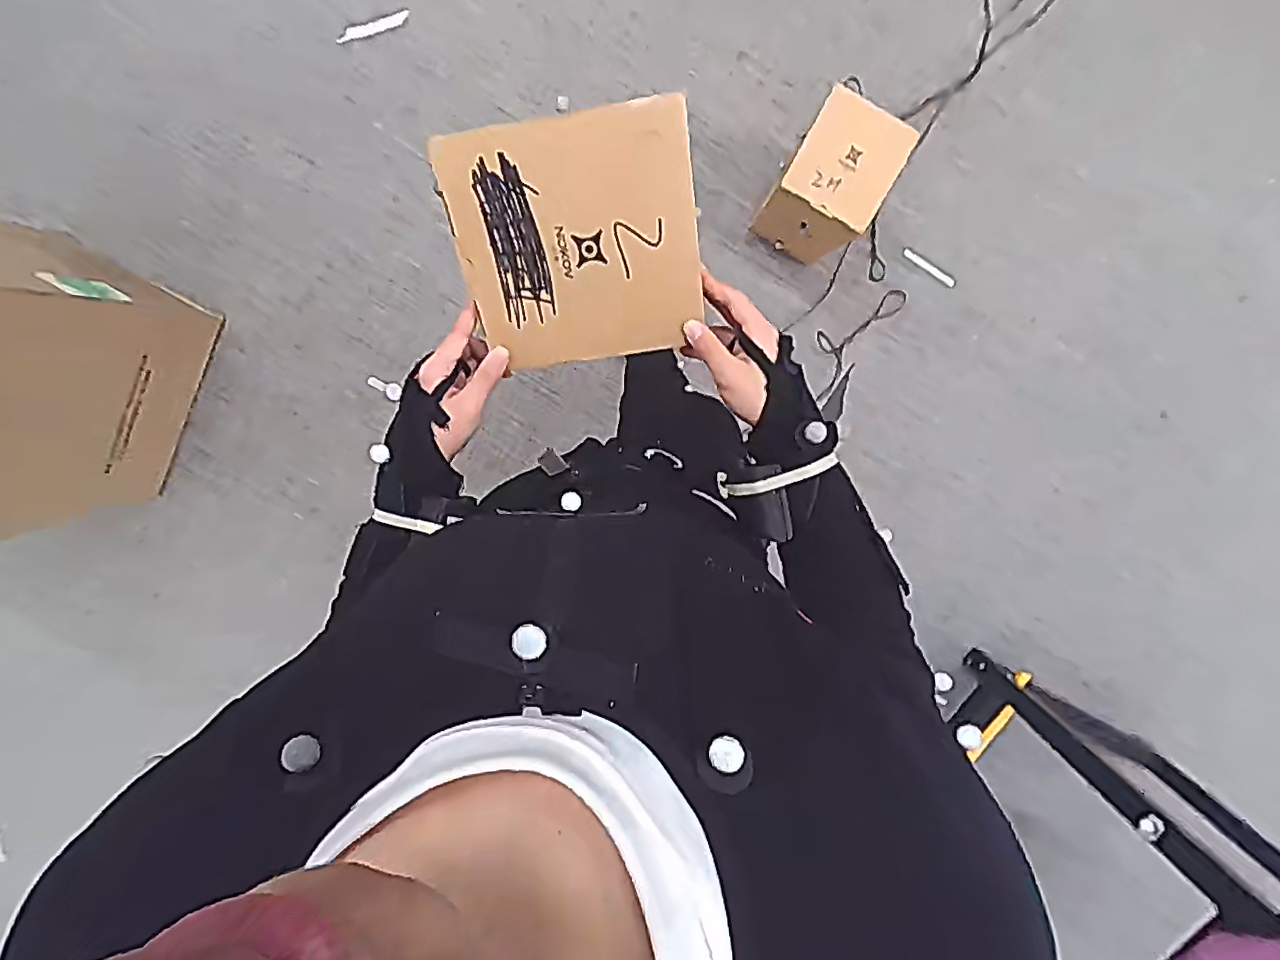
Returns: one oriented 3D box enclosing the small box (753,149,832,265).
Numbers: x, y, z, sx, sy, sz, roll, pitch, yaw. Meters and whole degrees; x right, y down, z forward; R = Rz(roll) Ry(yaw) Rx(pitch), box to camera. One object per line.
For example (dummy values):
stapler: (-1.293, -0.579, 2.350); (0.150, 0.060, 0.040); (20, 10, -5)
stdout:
small box: (0.353, -0.579, 1.127); (0.168, 0.176, 0.179); (30, 102, -4)

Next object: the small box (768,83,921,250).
small box: (0.349, -0.543, 0.966); (0.168, 0.176, 0.179); (28, 102, -4)
